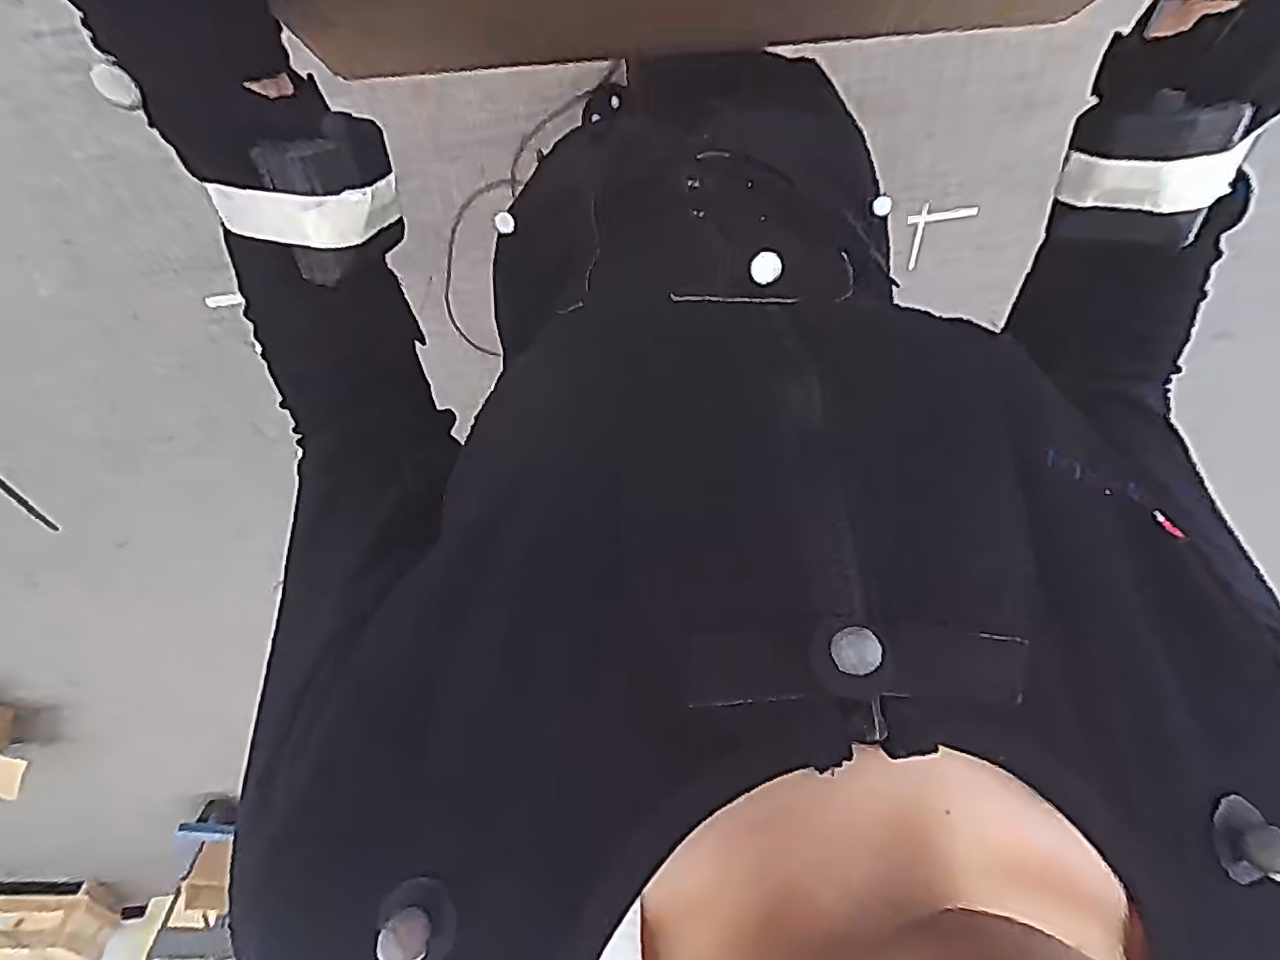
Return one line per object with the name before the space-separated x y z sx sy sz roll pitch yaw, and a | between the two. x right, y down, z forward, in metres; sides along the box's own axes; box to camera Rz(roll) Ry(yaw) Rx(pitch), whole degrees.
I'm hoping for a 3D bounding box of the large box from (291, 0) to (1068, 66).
large box | 0.027 -0.362 0.122 0.408 0.320 0.320 -5 103 0
